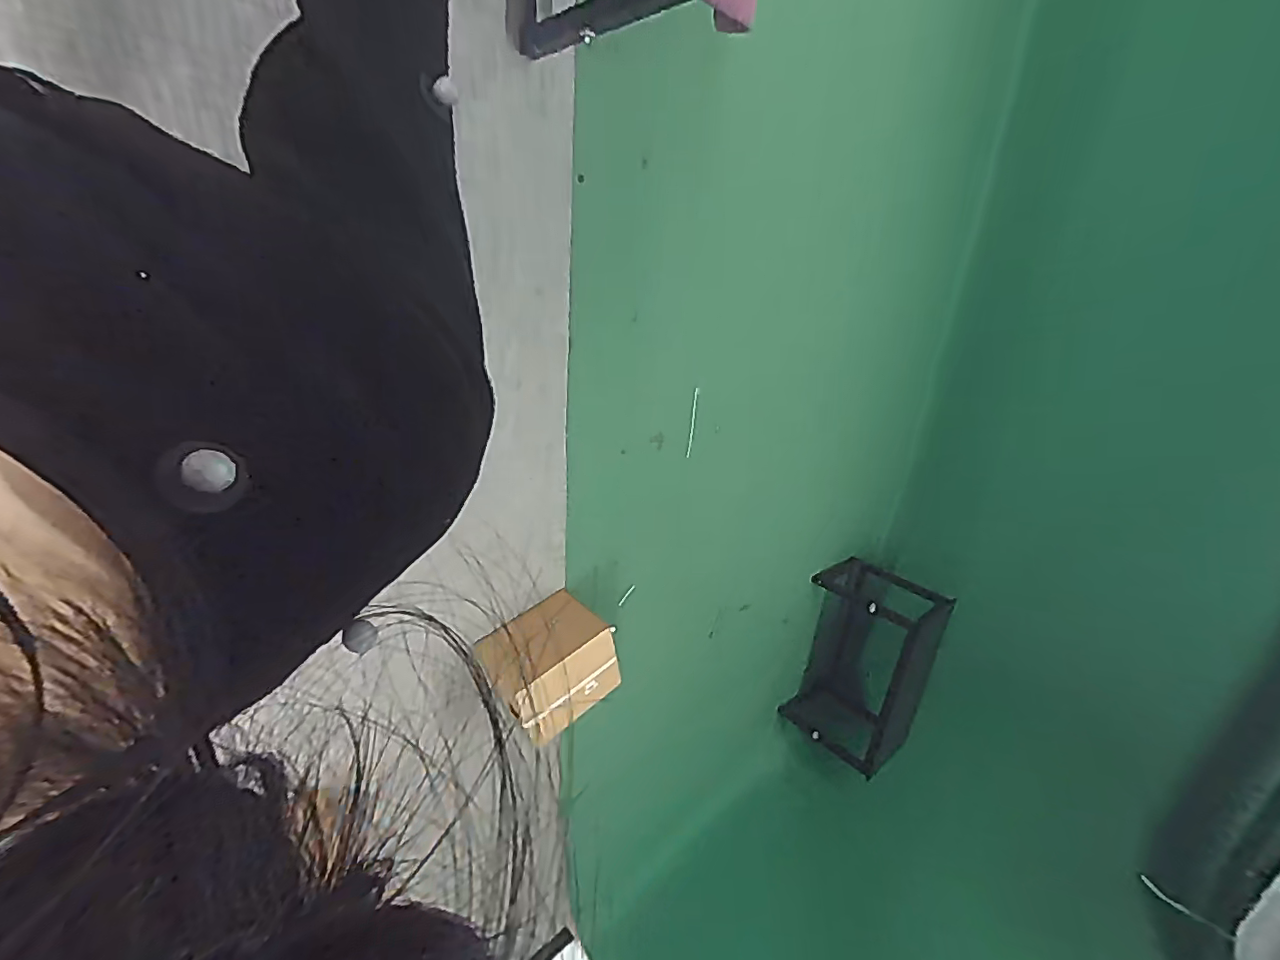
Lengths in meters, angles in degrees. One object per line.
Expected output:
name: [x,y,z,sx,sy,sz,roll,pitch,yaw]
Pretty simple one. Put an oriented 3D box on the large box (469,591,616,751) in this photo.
large box: [-0.354,0.692,2.010,0.408,0.320,0.320,-30,128,-33]
